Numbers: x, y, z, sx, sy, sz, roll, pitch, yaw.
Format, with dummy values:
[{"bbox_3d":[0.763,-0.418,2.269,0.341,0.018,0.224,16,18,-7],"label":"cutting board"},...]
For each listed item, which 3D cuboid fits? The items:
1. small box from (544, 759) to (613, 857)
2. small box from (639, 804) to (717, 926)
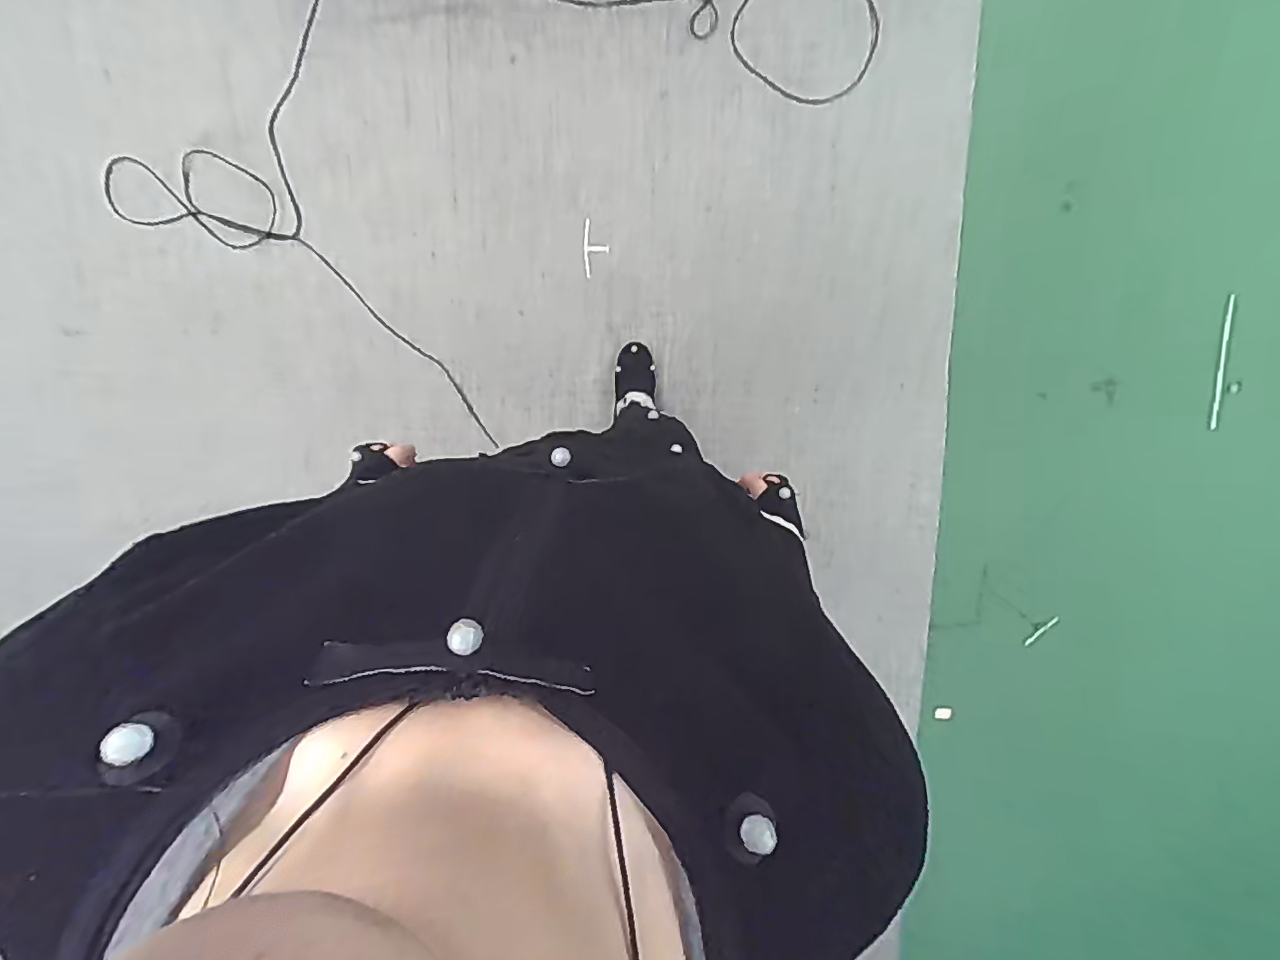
[{"bbox_3d":[-0.166,0.887,1.476,0.179,0.176,0.168,0,96,-4],"label":"small box"},{"bbox_3d":[0.086,0.937,1.324,0.168,0.176,0.179,4,97,-3],"label":"small box"}]
